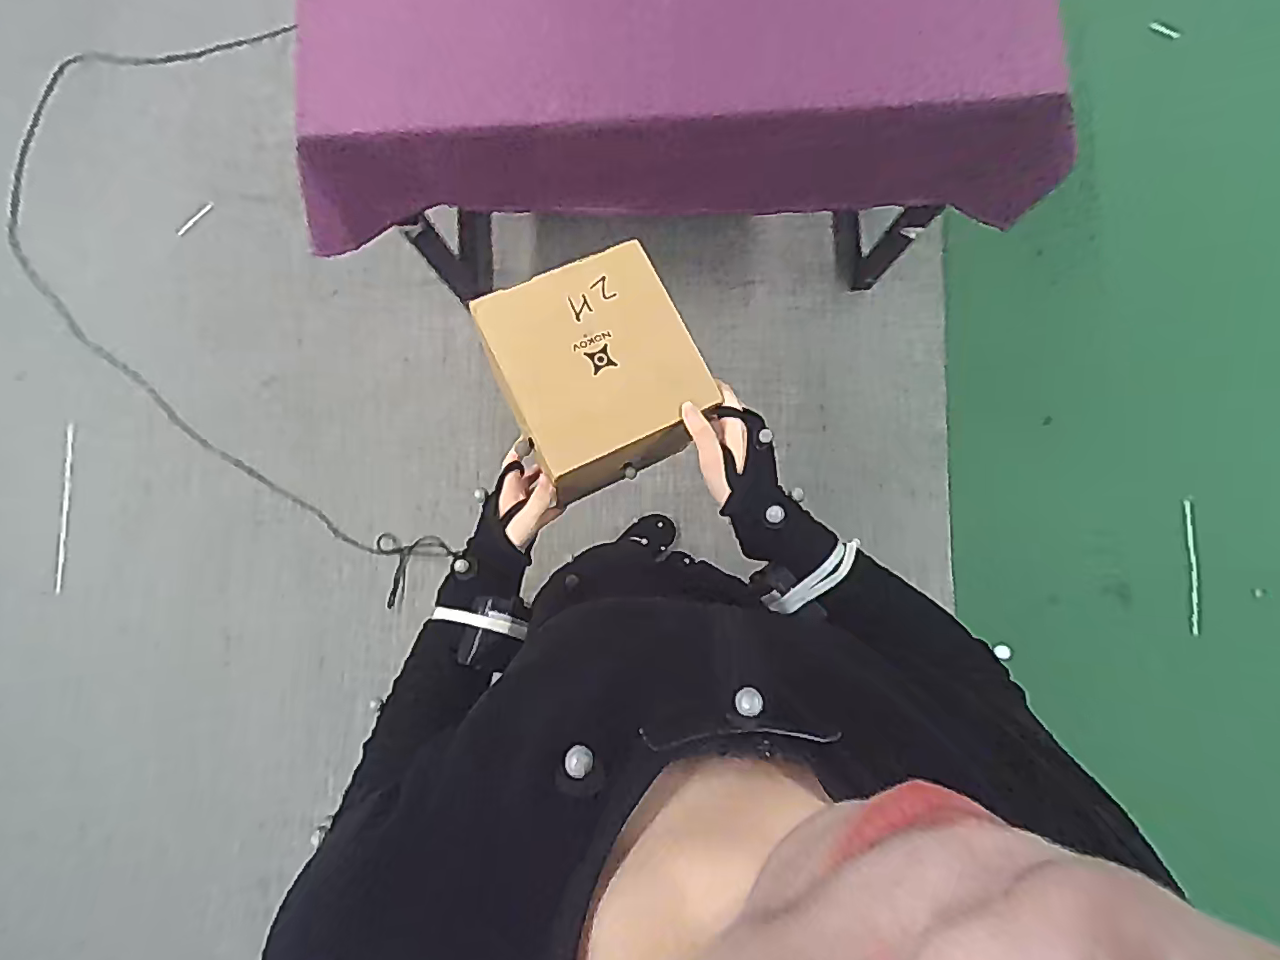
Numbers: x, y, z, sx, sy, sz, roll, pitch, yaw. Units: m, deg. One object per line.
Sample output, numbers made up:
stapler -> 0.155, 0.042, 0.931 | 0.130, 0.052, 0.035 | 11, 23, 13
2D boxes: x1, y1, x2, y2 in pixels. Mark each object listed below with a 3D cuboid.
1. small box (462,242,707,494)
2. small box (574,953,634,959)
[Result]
small box -> -0.056, -0.097, 0.553 | 0.168, 0.176, 0.179 | -26, 82, -12
small box -> -0.075, 1.189, 1.183 | 0.179, 0.176, 0.168 | 5, 86, 2
